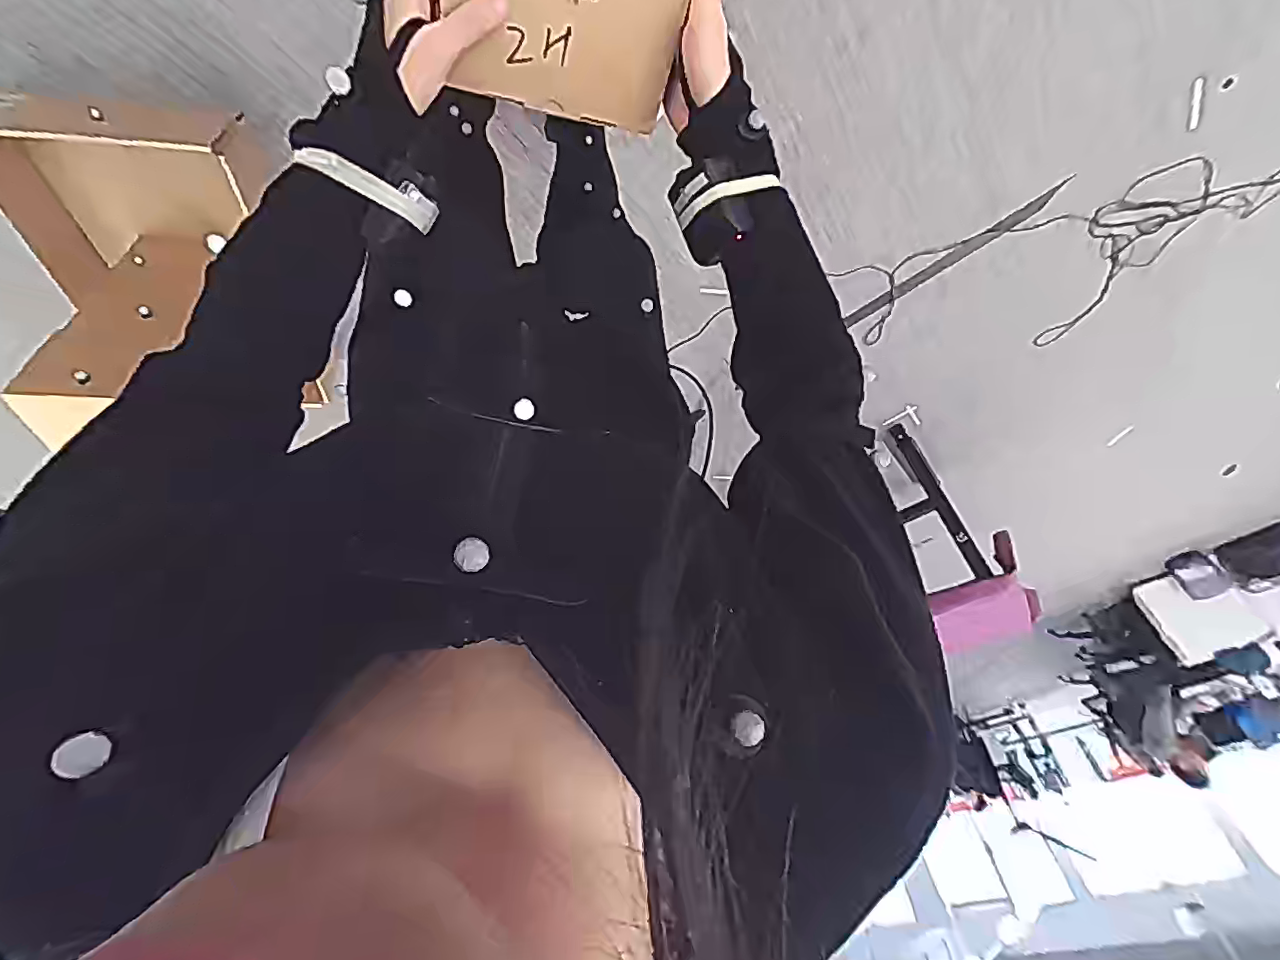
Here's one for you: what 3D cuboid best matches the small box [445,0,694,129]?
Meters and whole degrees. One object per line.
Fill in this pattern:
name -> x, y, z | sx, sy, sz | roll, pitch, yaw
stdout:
small box -> -0.055, -0.405, 0.396 | 0.168, 0.176, 0.179 | 1, 143, -21

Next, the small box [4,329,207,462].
small box -> -0.925, -0.150, 0.961 | 0.179, 0.176, 0.168 | 0, 141, -14

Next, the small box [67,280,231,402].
small box -> -0.944, -0.274, 1.066 | 0.179, 0.176, 0.168 | 0, 141, -15
